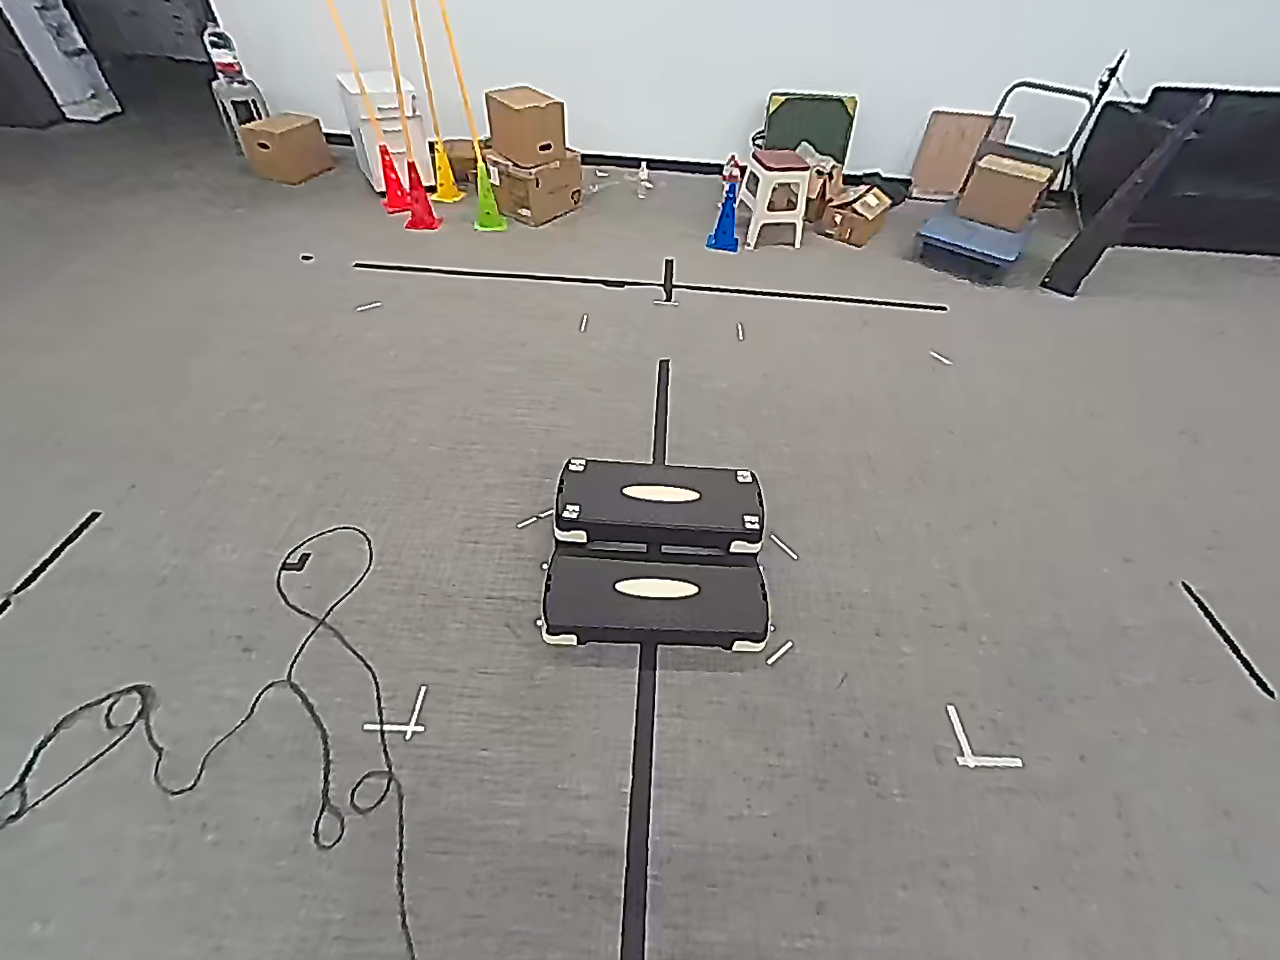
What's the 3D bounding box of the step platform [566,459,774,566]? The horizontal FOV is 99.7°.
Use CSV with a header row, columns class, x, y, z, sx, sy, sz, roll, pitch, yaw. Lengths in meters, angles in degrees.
class,x,y,z,sx,sy,sz,roll,pitch,yaw
step platform,0.097,0.105,1.816,0.684,0.204,0.286,4,47,-2
